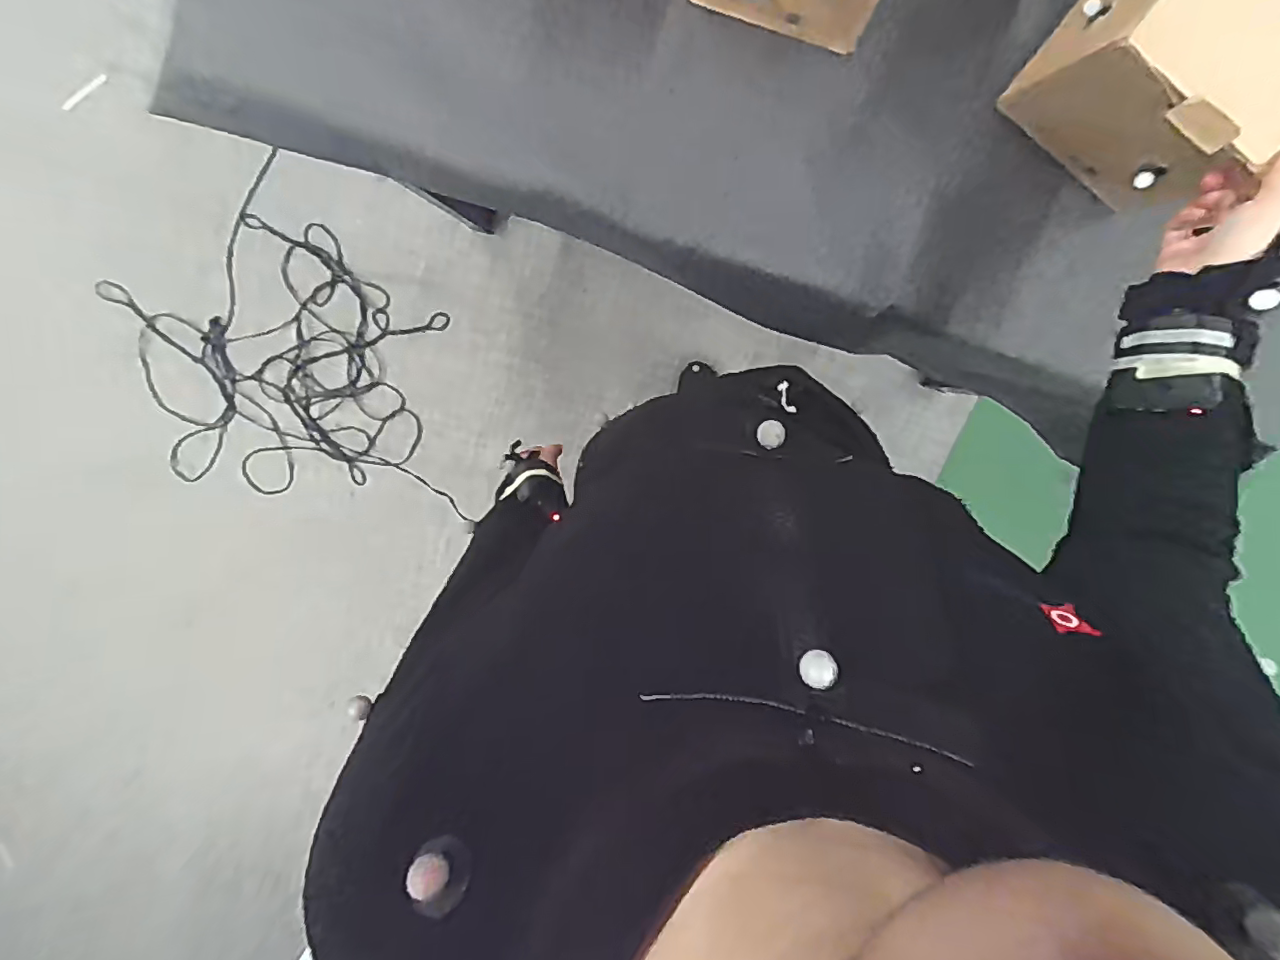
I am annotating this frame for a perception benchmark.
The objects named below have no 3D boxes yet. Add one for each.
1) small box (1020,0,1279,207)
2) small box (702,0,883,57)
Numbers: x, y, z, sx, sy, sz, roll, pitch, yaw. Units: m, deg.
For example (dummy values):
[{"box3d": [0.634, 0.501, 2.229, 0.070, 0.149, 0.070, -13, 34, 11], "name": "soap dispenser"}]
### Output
[{"box3d": [0.438, -0.336, 0.411, 0.168, 0.176, 0.179, 33, 111, -8], "name": "small box"}, {"box3d": [0.146, -0.489, 0.419, 0.168, 0.176, 0.179, 19, 103, 0], "name": "small box"}]
